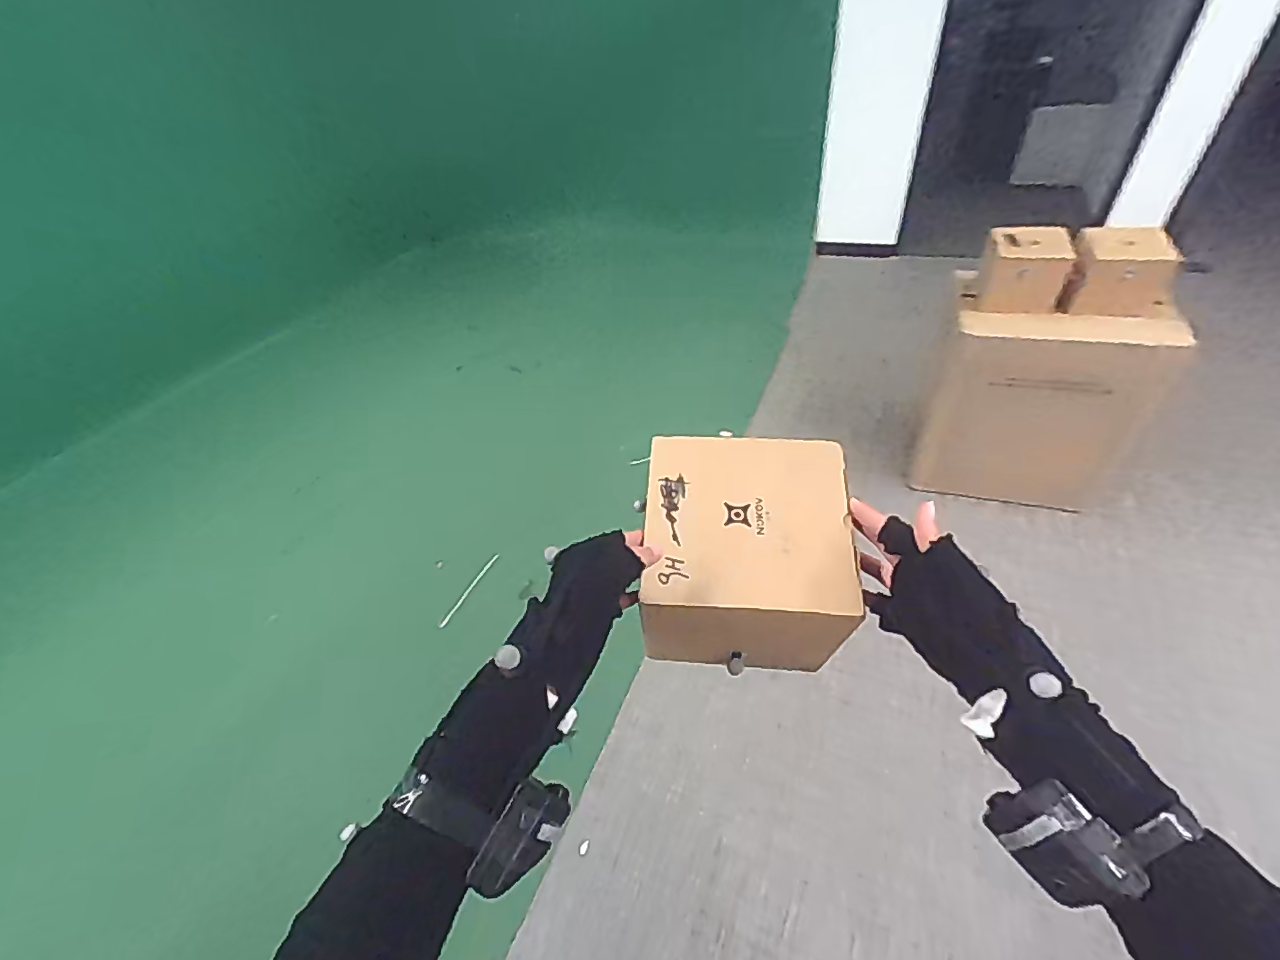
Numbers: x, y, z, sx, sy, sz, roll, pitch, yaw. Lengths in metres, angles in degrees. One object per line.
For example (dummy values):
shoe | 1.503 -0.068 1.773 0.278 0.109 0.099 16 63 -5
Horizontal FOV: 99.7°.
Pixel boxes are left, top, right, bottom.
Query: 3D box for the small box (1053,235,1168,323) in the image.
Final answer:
small box | 1.268 -0.547 1.478 0.179 0.176 0.168 7 53 14

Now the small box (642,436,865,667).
small box | 0.097 0.077 0.530 0.179 0.176 0.168 3 57 4

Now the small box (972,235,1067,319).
small box | 1.065 -0.576 1.537 0.179 0.176 0.168 8 52 16
